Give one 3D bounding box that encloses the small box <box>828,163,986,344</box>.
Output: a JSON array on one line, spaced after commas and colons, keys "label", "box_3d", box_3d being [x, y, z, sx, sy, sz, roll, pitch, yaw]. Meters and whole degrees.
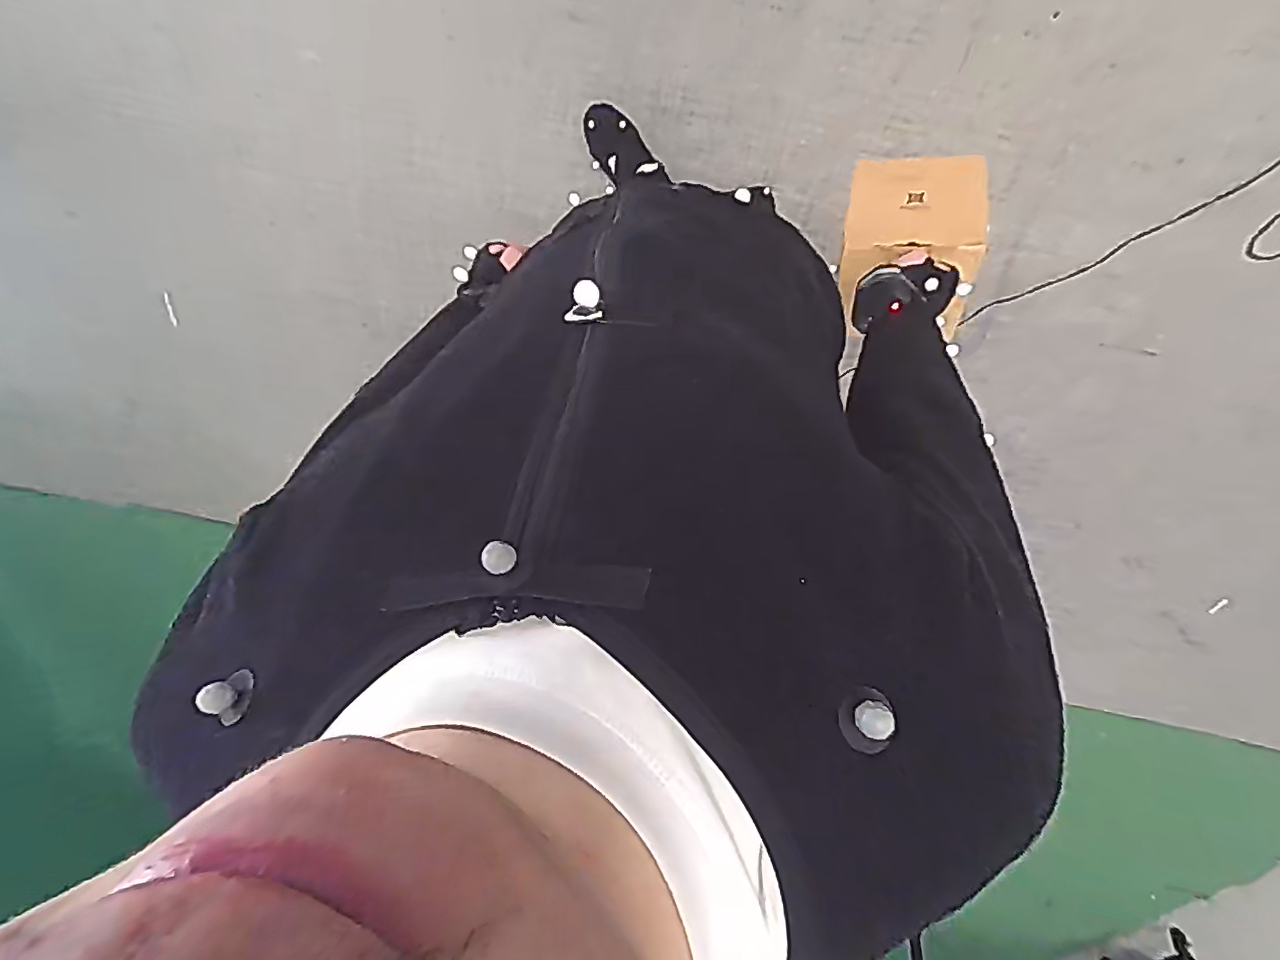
[{"label": "small box", "box_3d": [0.368, -0.315, 0.765, 0.168, 0.179, 0.176, 10, 152, 18]}]
